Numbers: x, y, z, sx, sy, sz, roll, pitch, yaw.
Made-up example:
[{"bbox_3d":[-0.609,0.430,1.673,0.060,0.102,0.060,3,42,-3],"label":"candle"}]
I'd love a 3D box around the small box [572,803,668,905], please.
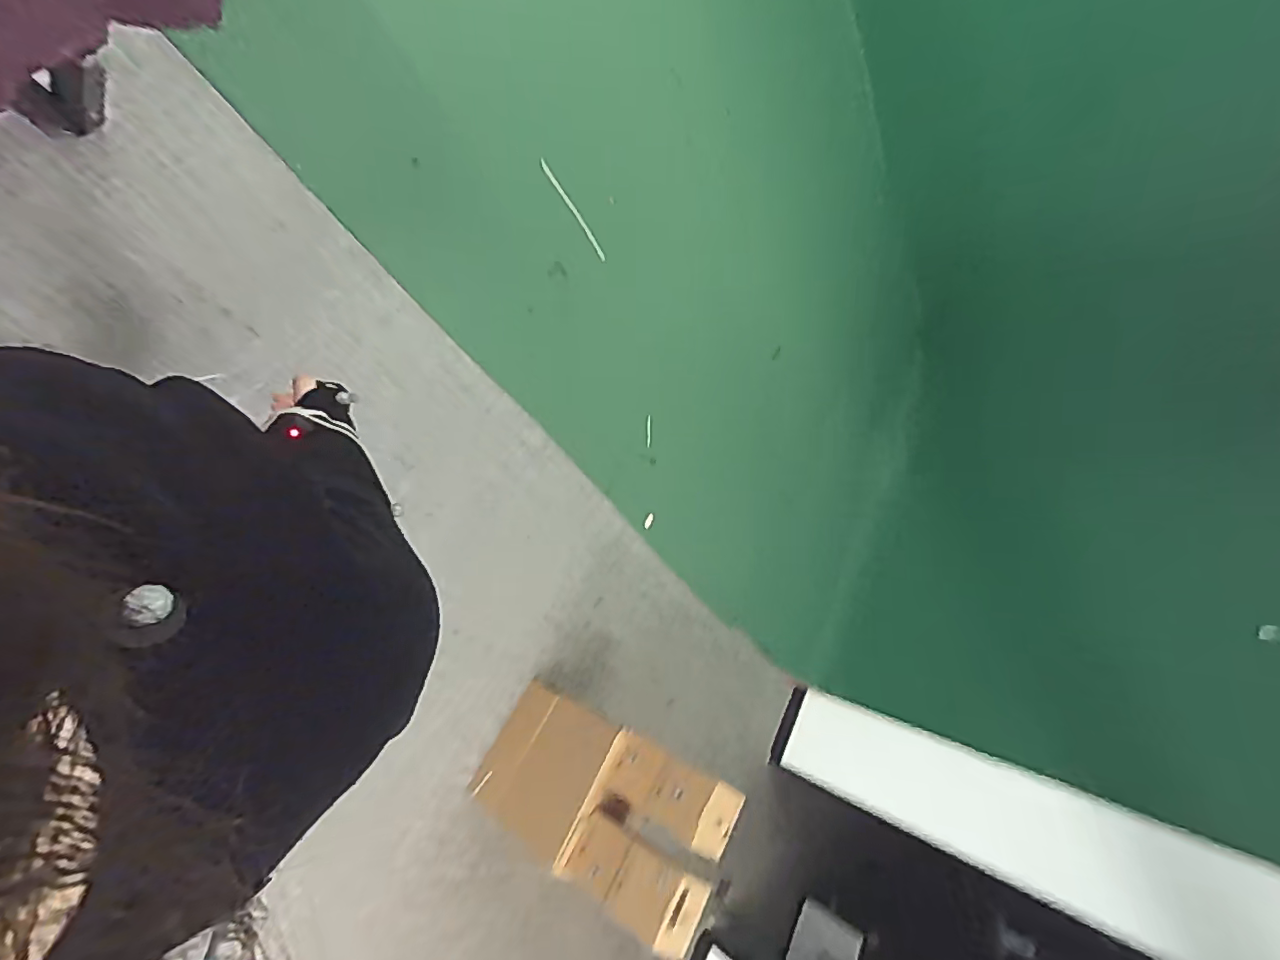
[{"bbox_3d":[-0.059,1.050,1.527,0.168,0.176,0.179,-57,131,-24],"label":"small box"}]

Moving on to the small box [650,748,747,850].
[{"bbox_3d":[0.158,0.868,1.487,0.179,0.176,0.168,49,64,-36],"label":"small box"}]
